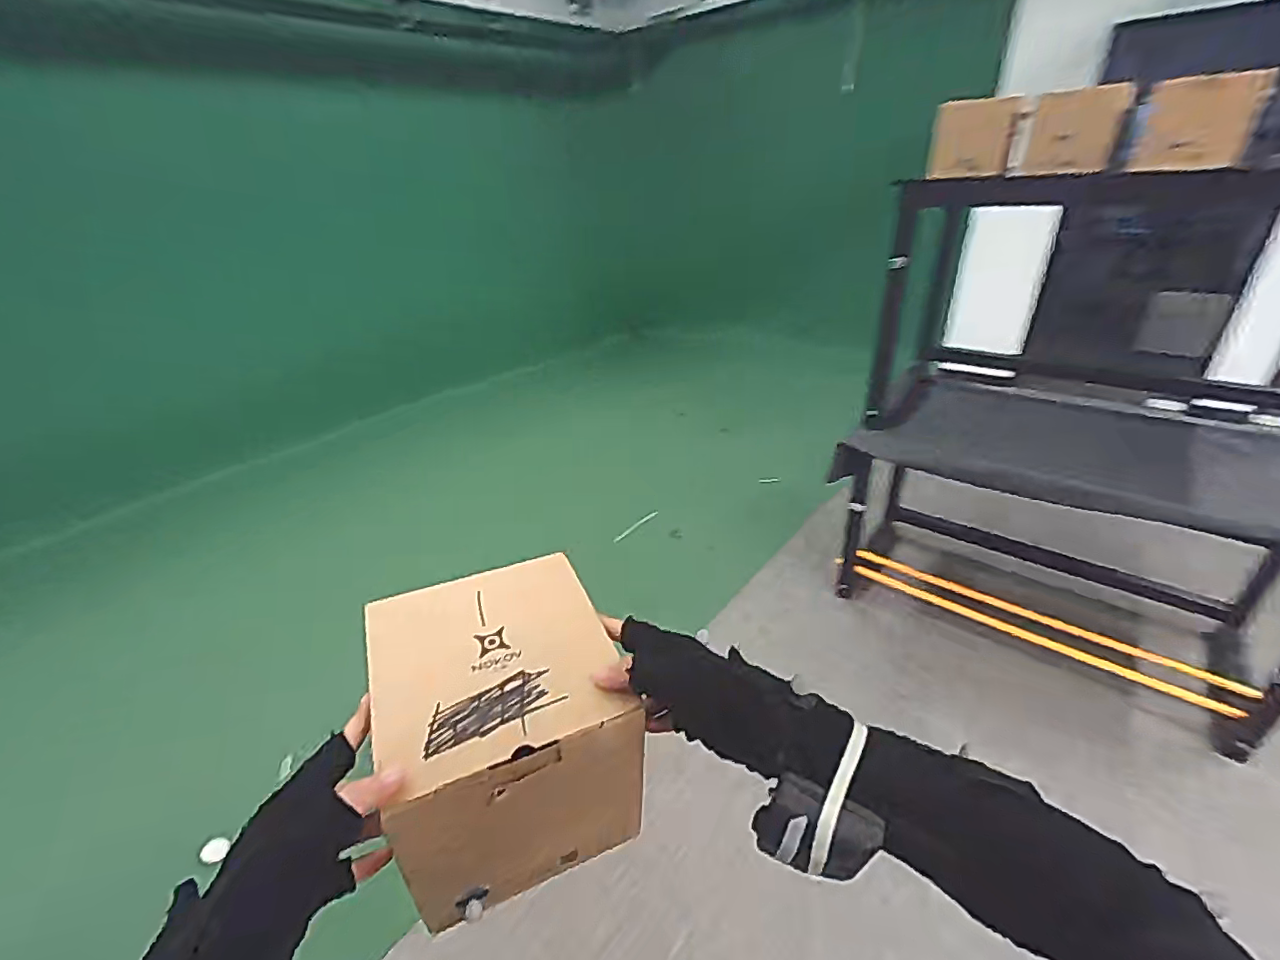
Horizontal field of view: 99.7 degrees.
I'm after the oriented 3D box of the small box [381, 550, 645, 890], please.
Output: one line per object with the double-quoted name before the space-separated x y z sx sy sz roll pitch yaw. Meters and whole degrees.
"small box" -0.103 0.190 0.443 0.168 0.176 0.179 -12 34 -21
